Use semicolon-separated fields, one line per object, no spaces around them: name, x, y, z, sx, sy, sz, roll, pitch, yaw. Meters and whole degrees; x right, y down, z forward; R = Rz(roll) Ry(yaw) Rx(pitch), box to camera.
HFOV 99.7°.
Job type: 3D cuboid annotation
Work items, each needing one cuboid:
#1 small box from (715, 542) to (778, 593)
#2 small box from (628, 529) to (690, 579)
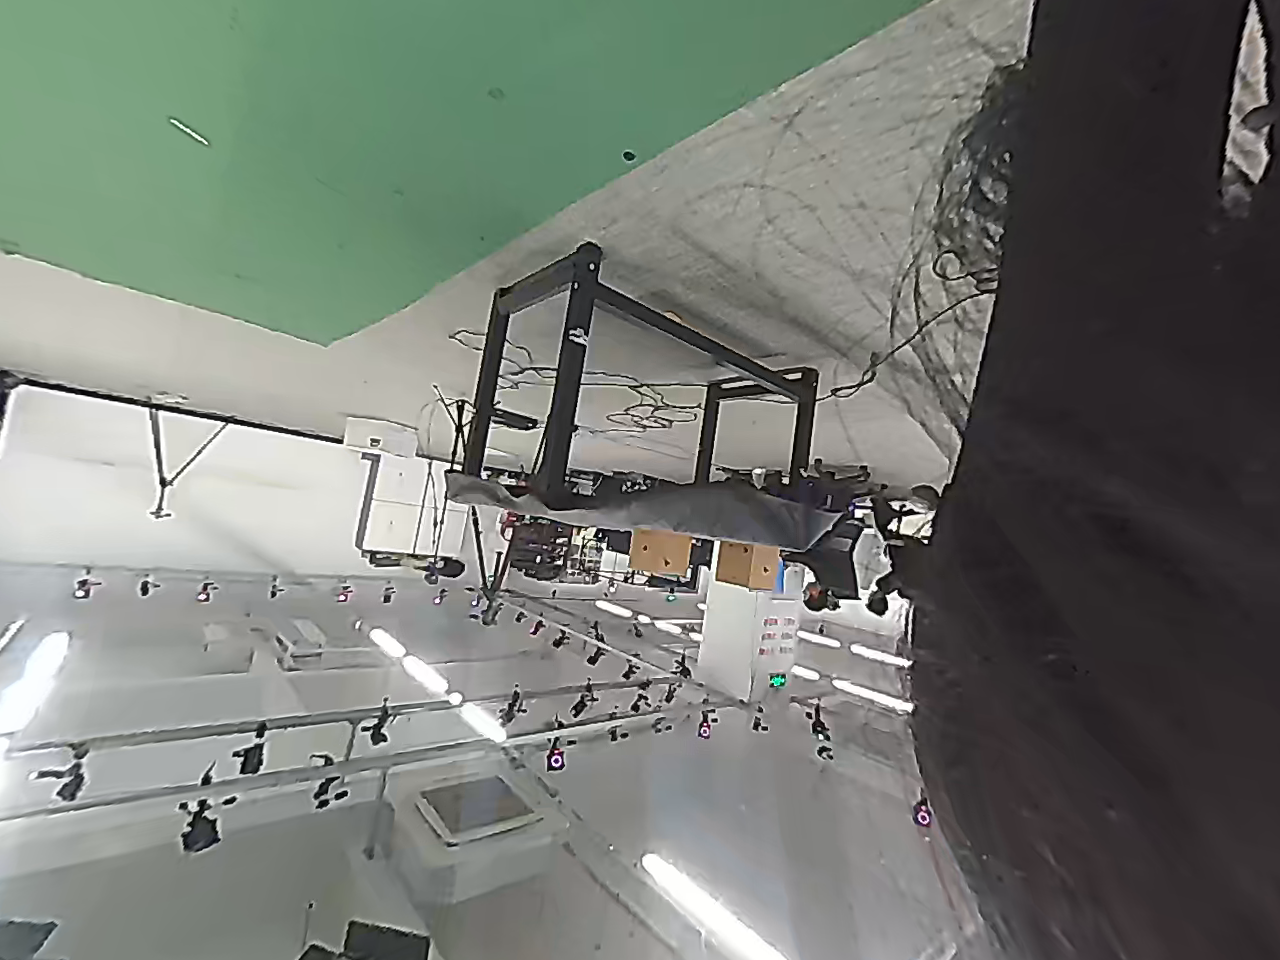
small box;0.419;0.339;2.114;0.179;0.176;0.168;13;174;-41
small box;0.077;0.290;2.127;0.179;0.176;0.168;14;172;-42
